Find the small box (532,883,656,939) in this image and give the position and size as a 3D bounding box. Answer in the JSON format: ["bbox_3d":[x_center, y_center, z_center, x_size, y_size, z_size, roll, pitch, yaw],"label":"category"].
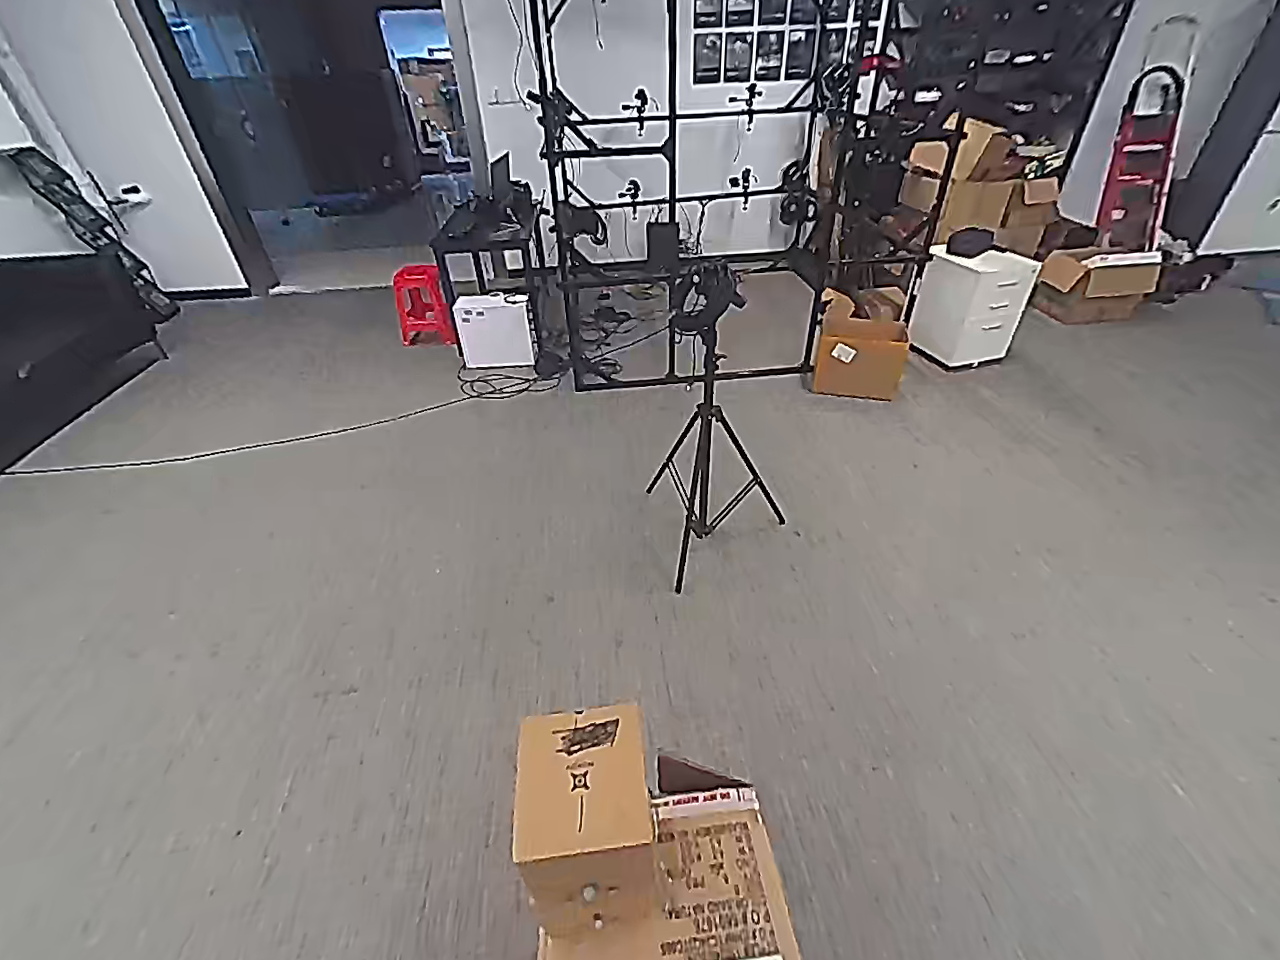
[{"bbox_3d":[-0.072,0.568,0.838,0.168,0.176,0.179,-9,39,-5],"label":"small box"}]

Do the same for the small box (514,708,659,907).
[{"bbox_3d":[-0.066,0.441,0.732,0.168,0.176,0.179,-7,40,-2],"label":"small box"}]
